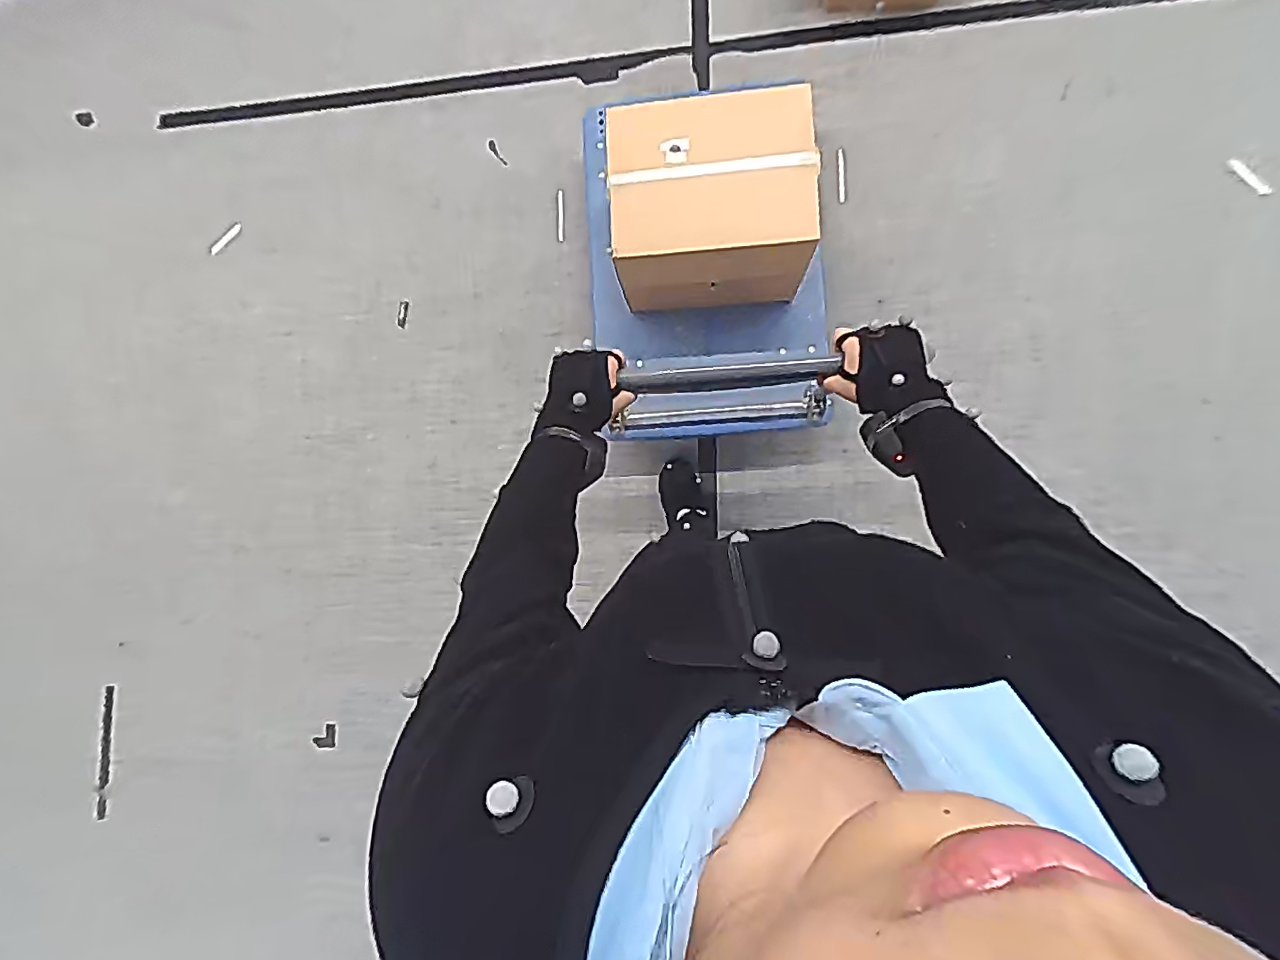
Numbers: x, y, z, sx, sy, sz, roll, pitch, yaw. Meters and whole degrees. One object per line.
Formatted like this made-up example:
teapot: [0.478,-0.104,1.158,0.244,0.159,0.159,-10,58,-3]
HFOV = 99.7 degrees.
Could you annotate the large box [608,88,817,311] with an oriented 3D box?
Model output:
large box: [0.159,-0.600,1.225,0.408,0.320,0.320,-3,86,7]
